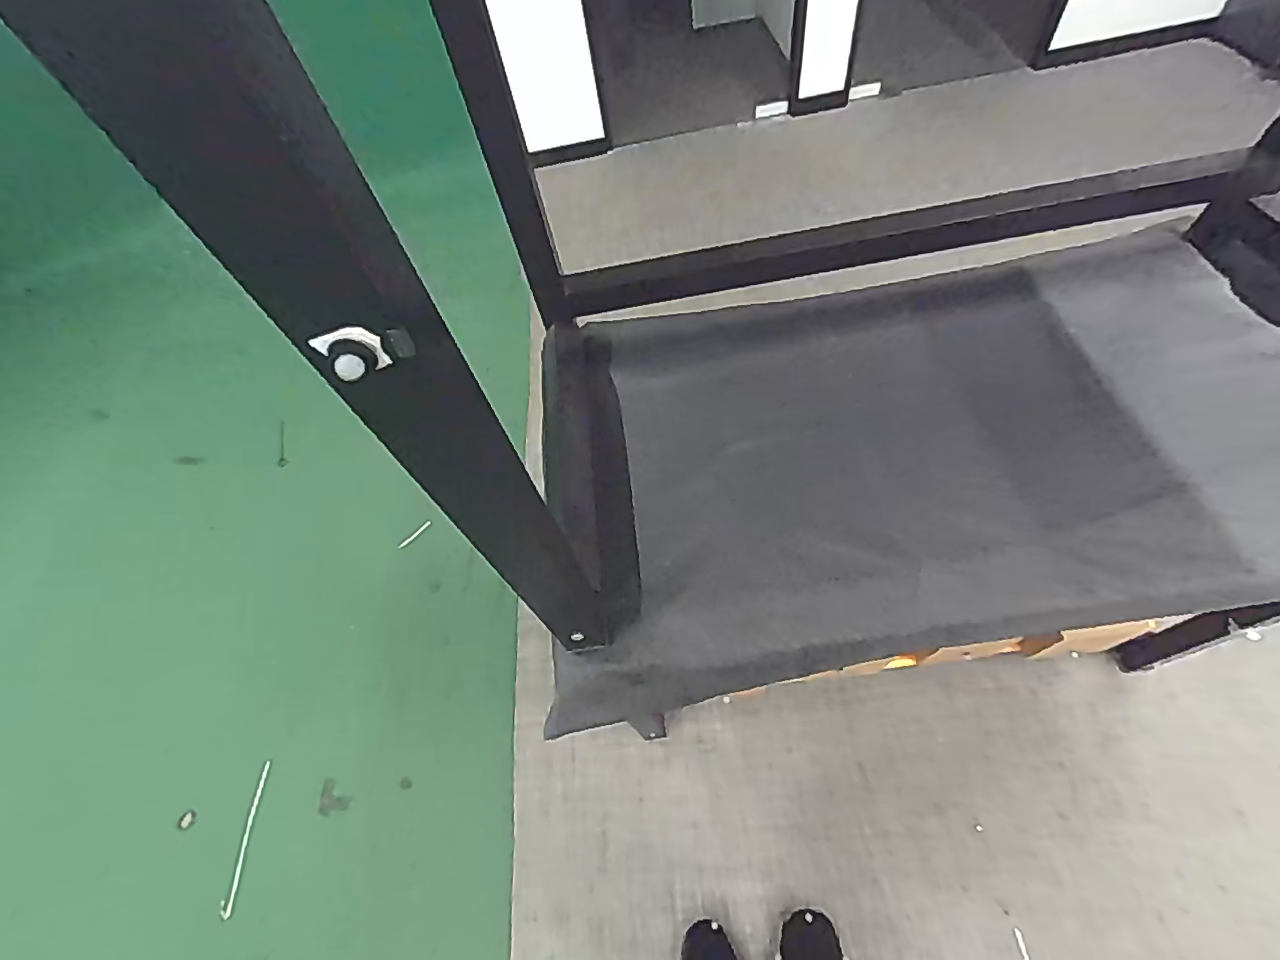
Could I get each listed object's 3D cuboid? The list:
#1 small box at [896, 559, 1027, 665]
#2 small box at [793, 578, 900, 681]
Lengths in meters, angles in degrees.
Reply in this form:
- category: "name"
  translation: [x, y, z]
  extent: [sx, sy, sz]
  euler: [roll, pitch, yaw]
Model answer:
- category: "small box"
  translation: [0.683, 0.293, 1.174]
  extent: [0.168, 0.176, 0.179]
  euler: [-10, 57, 4]
- category: "small box"
  translation: [0.442, 0.335, 1.186]
  extent: [0.168, 0.176, 0.179]
  euler: [-8, 57, 3]
